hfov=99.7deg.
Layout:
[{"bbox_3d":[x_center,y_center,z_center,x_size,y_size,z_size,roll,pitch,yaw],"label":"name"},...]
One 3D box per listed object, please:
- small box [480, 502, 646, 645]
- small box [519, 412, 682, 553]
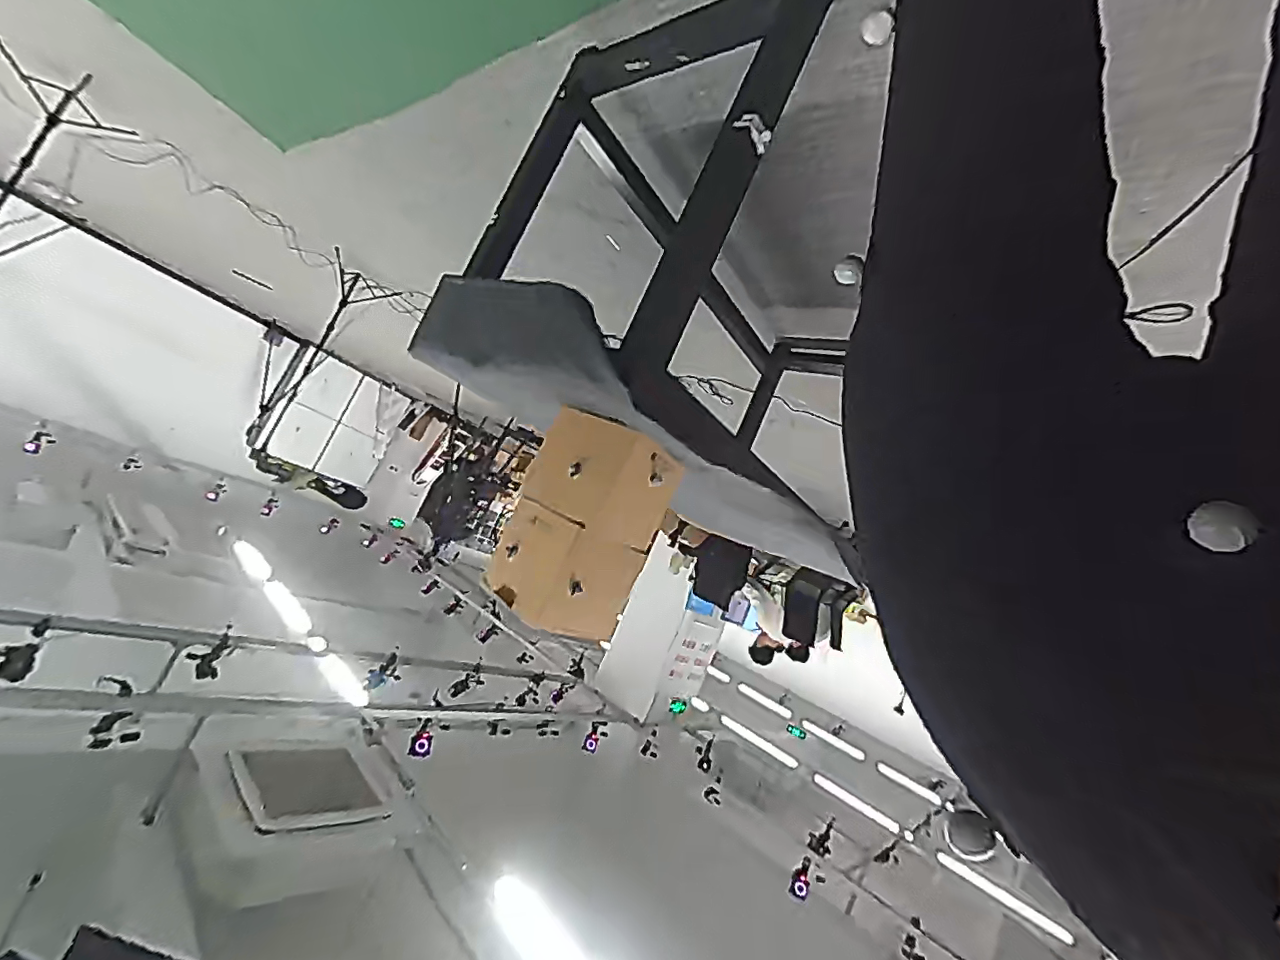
[{"bbox_3d":[-0.124,0.151,0.897,0.168,0.176,0.179,23,176,43],"label":"small box"},{"bbox_3d":[-0.060,0.002,0.904,0.179,0.176,0.168,21,174,35],"label":"small box"}]
